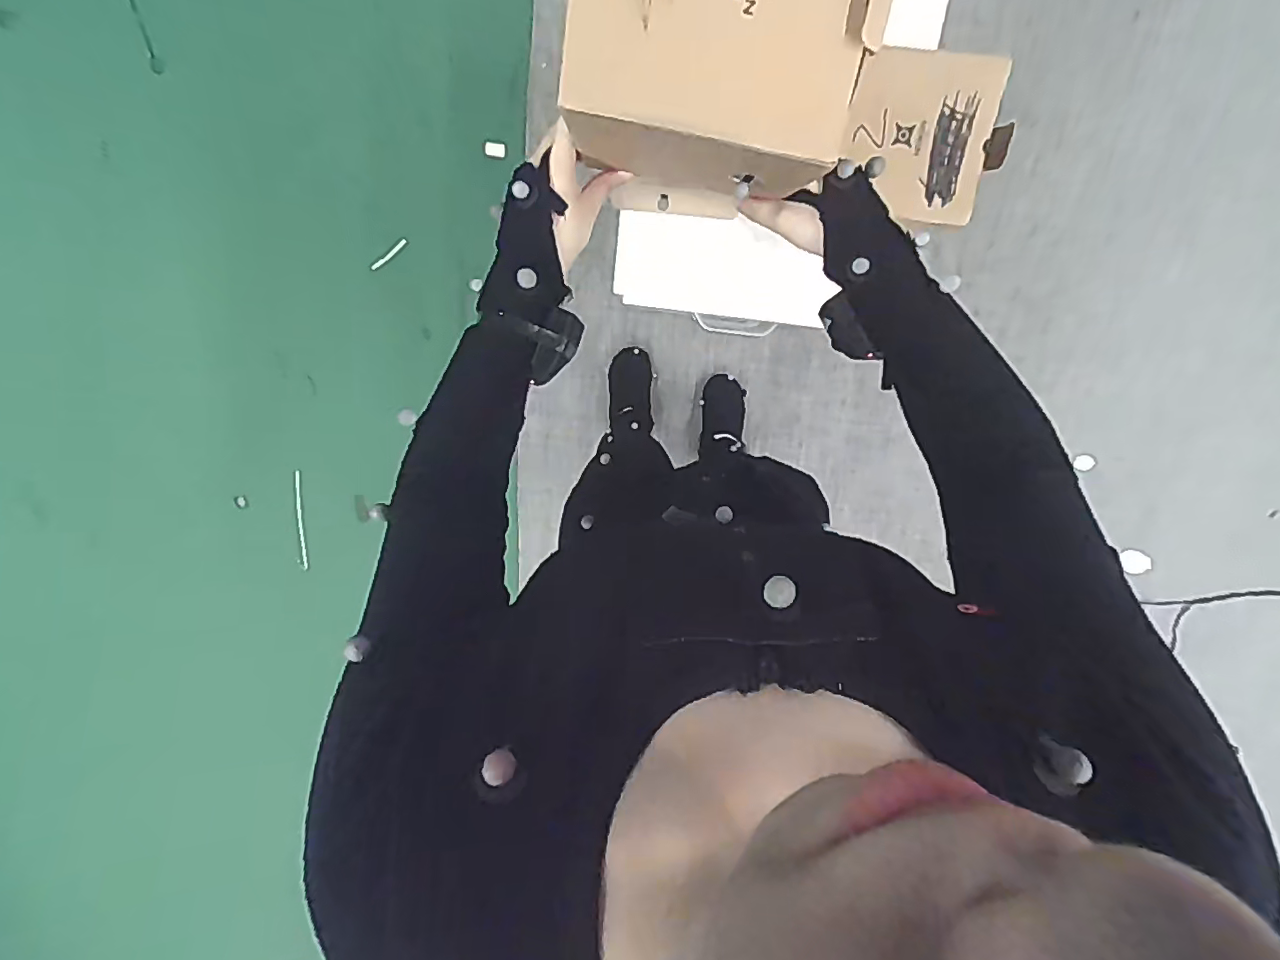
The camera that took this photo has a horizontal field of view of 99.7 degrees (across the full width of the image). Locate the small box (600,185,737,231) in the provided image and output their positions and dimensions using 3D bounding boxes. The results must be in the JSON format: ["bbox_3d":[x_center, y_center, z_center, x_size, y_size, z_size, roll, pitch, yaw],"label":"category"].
[{"bbox_3d":[0.050,-0.423,0.685,0.179,0.176,0.168,5,106,0],"label":"small box"}]

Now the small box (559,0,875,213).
[{"bbox_3d":[0.049,-0.304,0.389,0.179,0.176,0.168,9,107,-3],"label":"small box"}]
